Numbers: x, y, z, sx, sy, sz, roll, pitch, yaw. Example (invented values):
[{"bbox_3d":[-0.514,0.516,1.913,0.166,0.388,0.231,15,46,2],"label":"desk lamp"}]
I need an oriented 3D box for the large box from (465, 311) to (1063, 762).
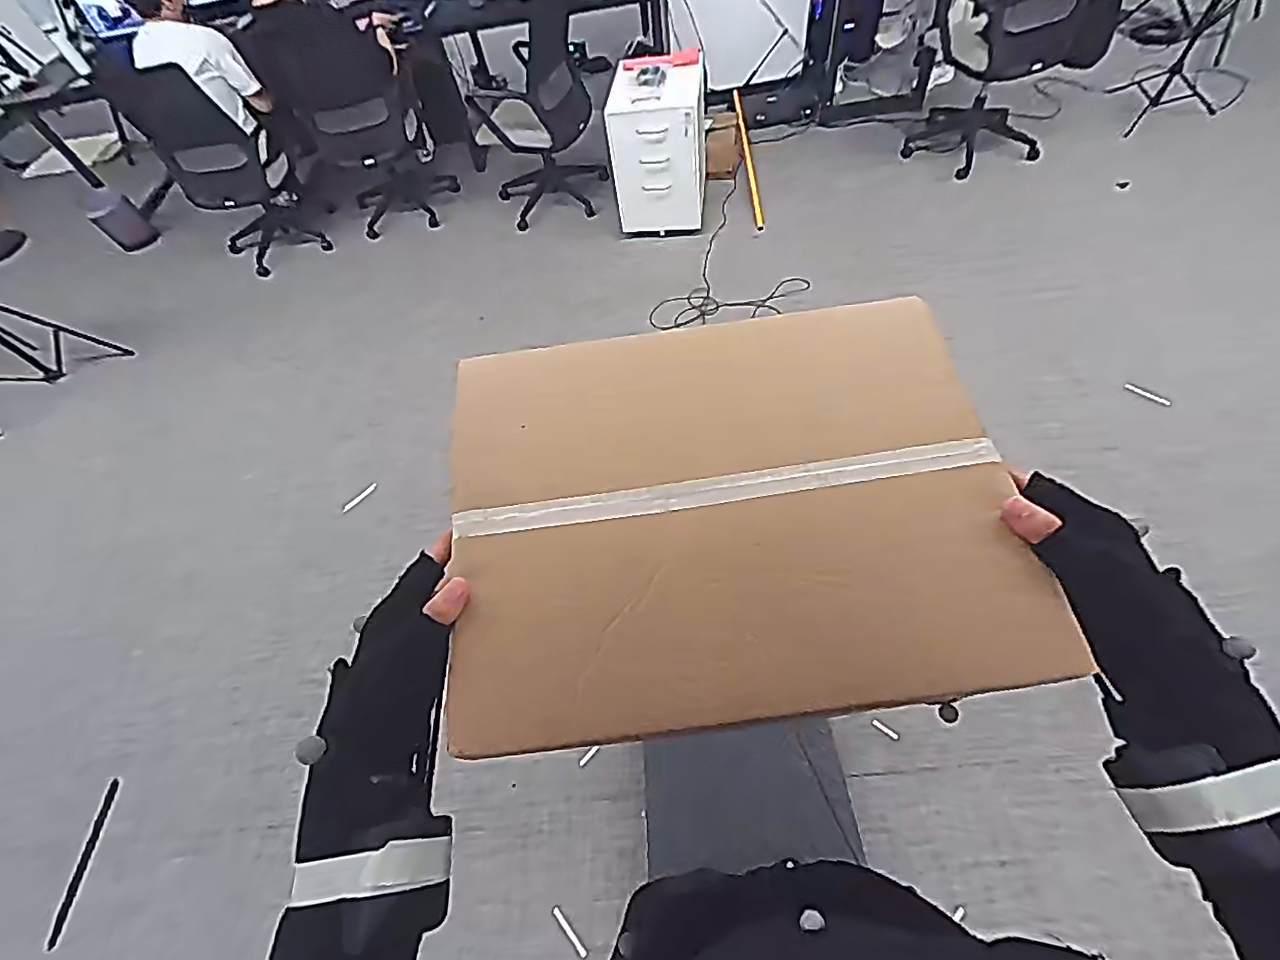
[{"bbox_3d":[0.075,0.078,0.549,0.408,0.320,0.320,-8,64,1],"label":"large box"}]
